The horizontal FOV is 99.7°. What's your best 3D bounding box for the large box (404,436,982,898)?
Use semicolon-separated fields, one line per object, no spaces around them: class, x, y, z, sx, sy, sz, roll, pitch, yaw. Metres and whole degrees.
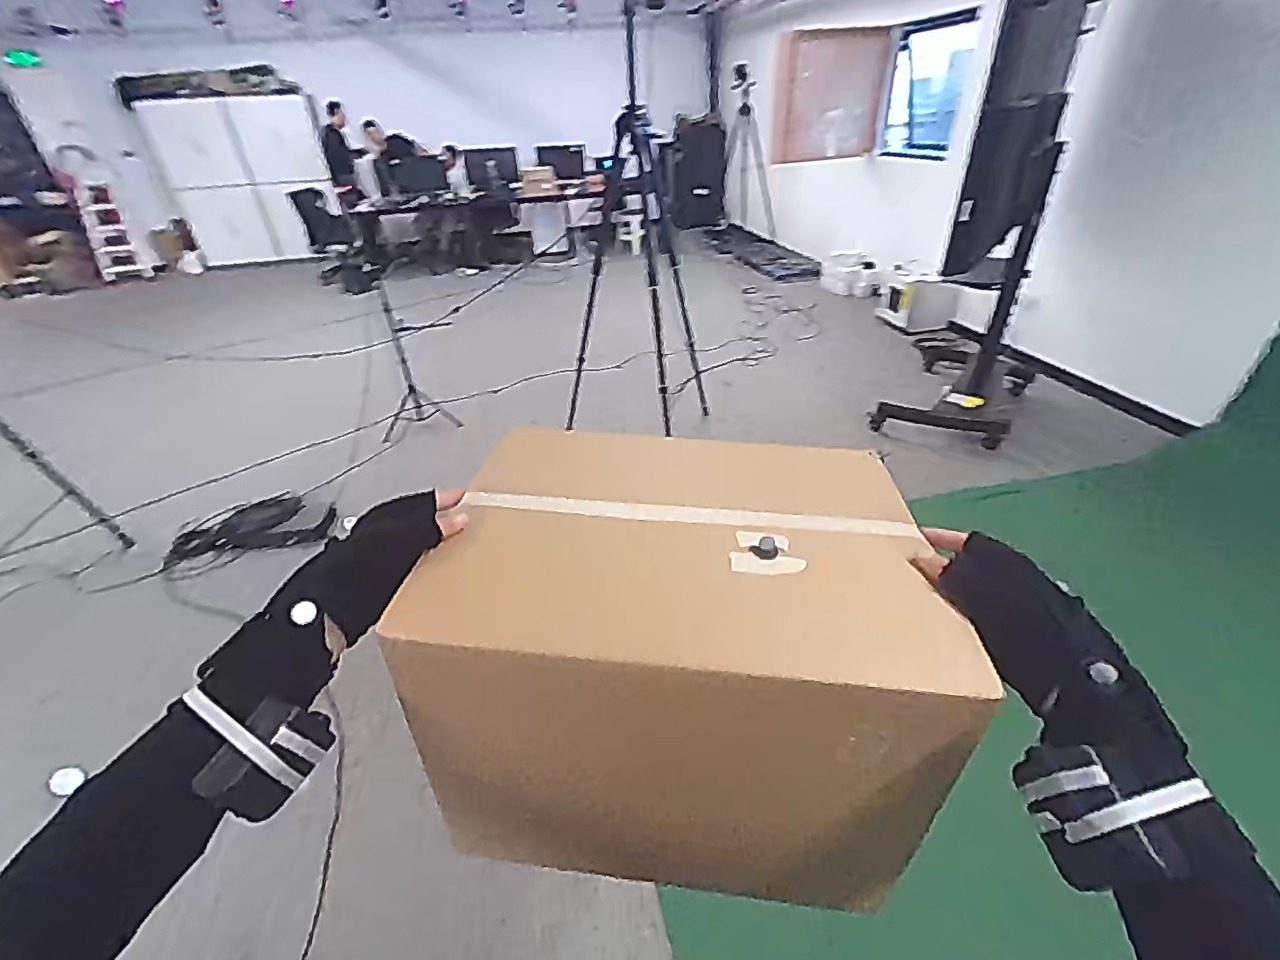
large box;0.038;0.169;0.566;0.408;0.320;0.320;5;32;5
